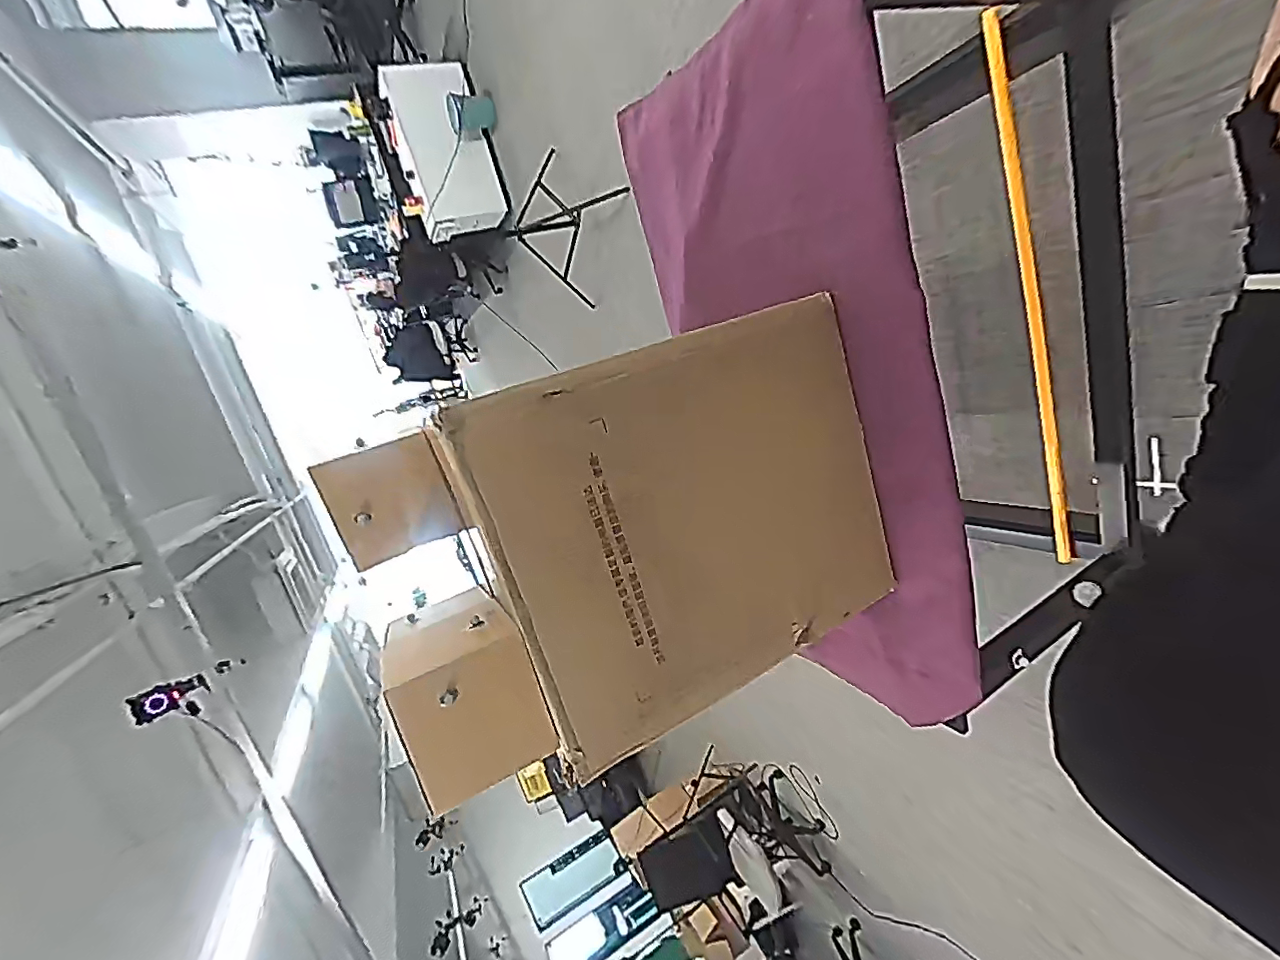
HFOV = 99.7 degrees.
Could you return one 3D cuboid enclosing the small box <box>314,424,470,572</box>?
[{"bbox_3d":[-0.400,0.018,0.881,0.168,0.176,0.179,19,130,62],"label":"small box"}]
